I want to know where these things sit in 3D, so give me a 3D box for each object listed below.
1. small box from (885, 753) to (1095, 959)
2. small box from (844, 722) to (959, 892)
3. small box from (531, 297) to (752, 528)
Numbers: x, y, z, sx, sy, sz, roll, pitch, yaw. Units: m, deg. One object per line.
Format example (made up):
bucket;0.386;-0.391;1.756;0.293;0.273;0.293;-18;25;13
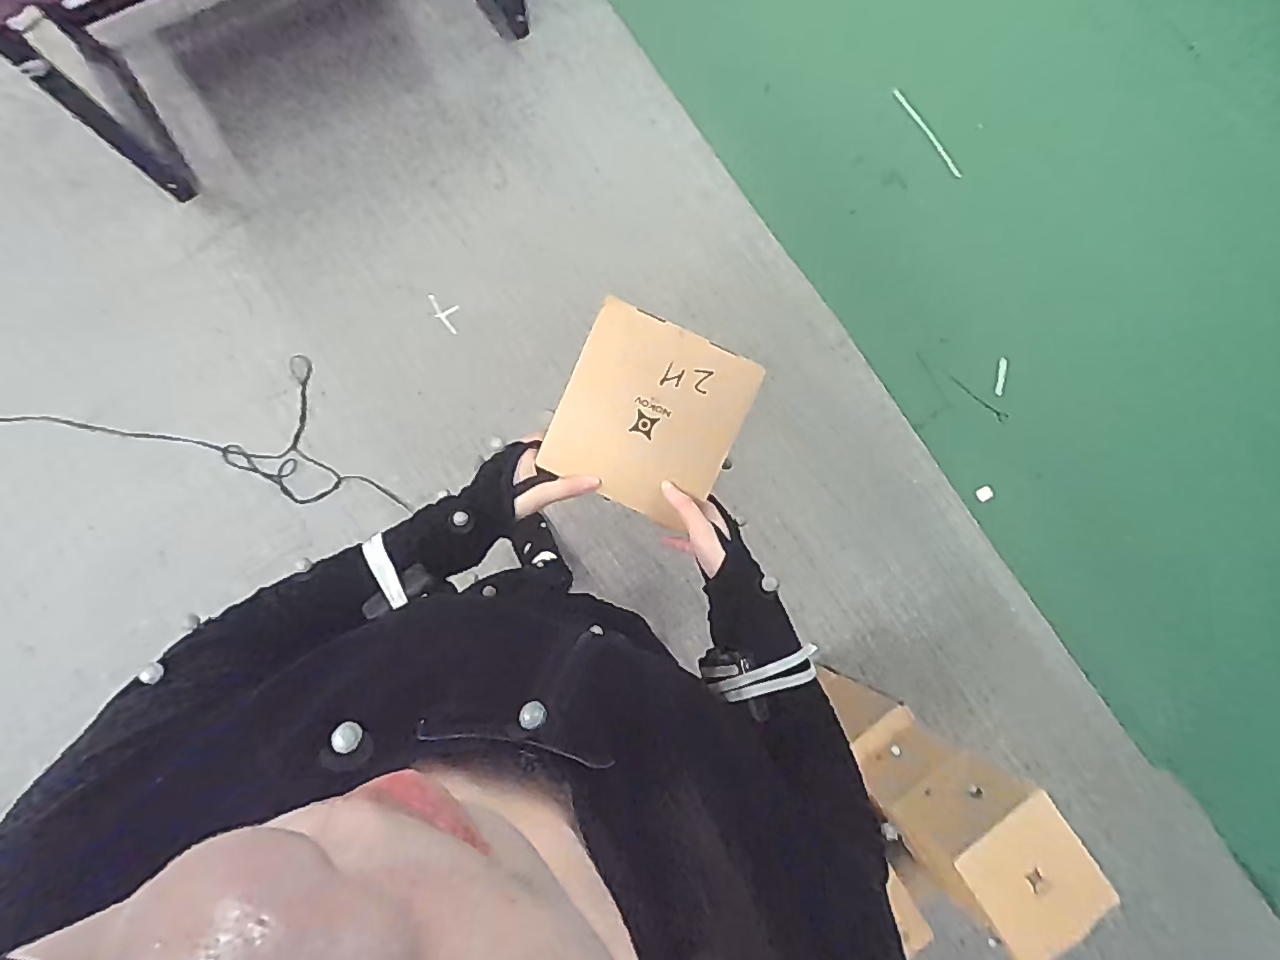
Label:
small box;0.519;0.552;0.831;0.168;0.176;0.179;-33;86;-6
small box;0.514;0.582;0.991;0.168;0.176;0.179;-32;85;-6
small box;0.002;-0.071;0.602;0.168;0.176;0.179;25;96;-2
